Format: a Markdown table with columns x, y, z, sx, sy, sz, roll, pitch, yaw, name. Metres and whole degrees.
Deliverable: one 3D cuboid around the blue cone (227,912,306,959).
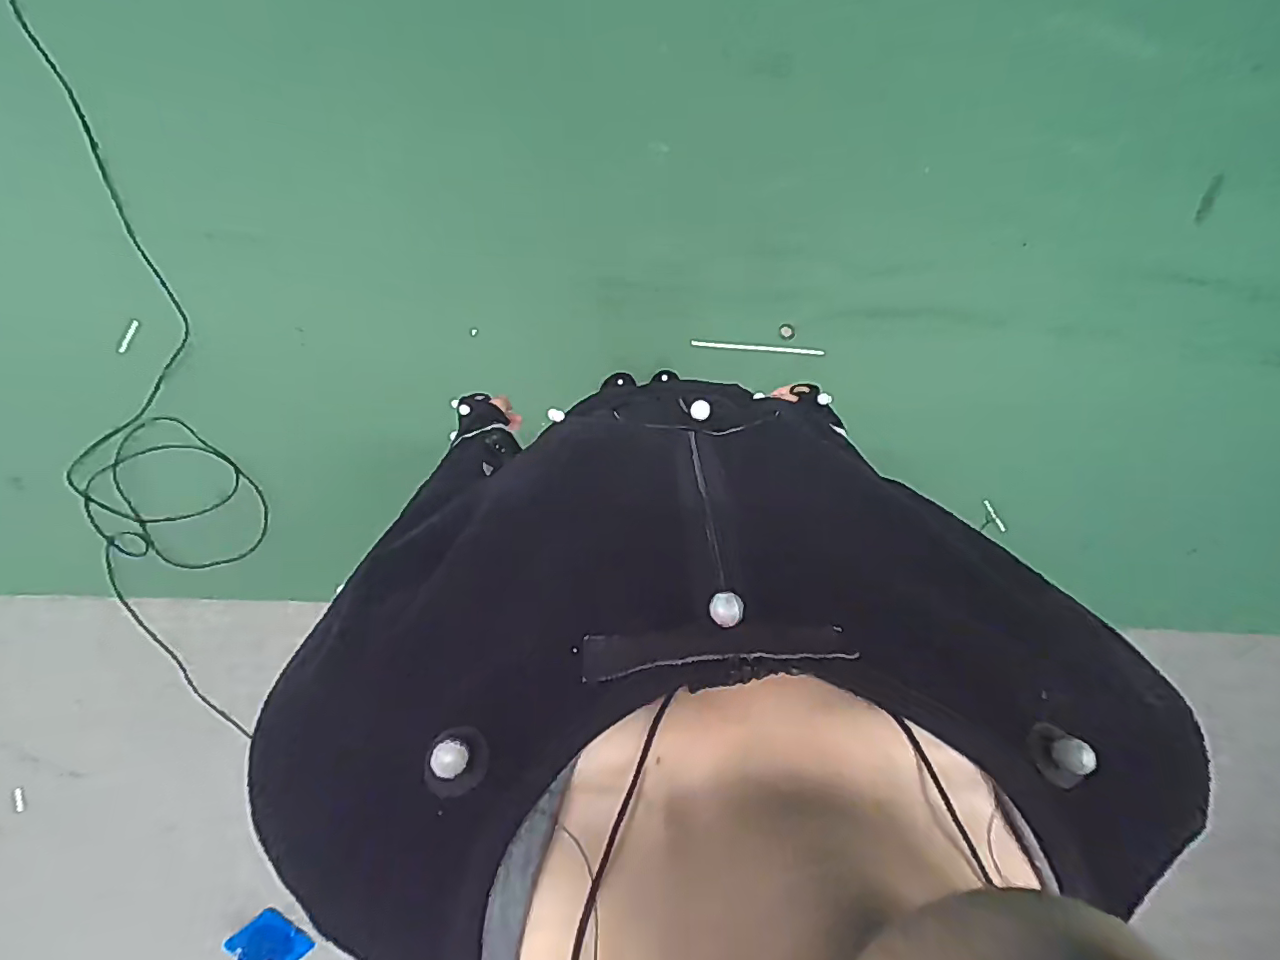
| x | y | z | sx | sy | sz | roll | pitch | yaw | name |
| --- | --- | --- | --- | --- | --- | --- | --- | --- | --- |
| -1.130 | 1.461 | 1.498 | 0.193 | 0.380 | 0.192 | -40 | 103 | 5 | blue cone |
